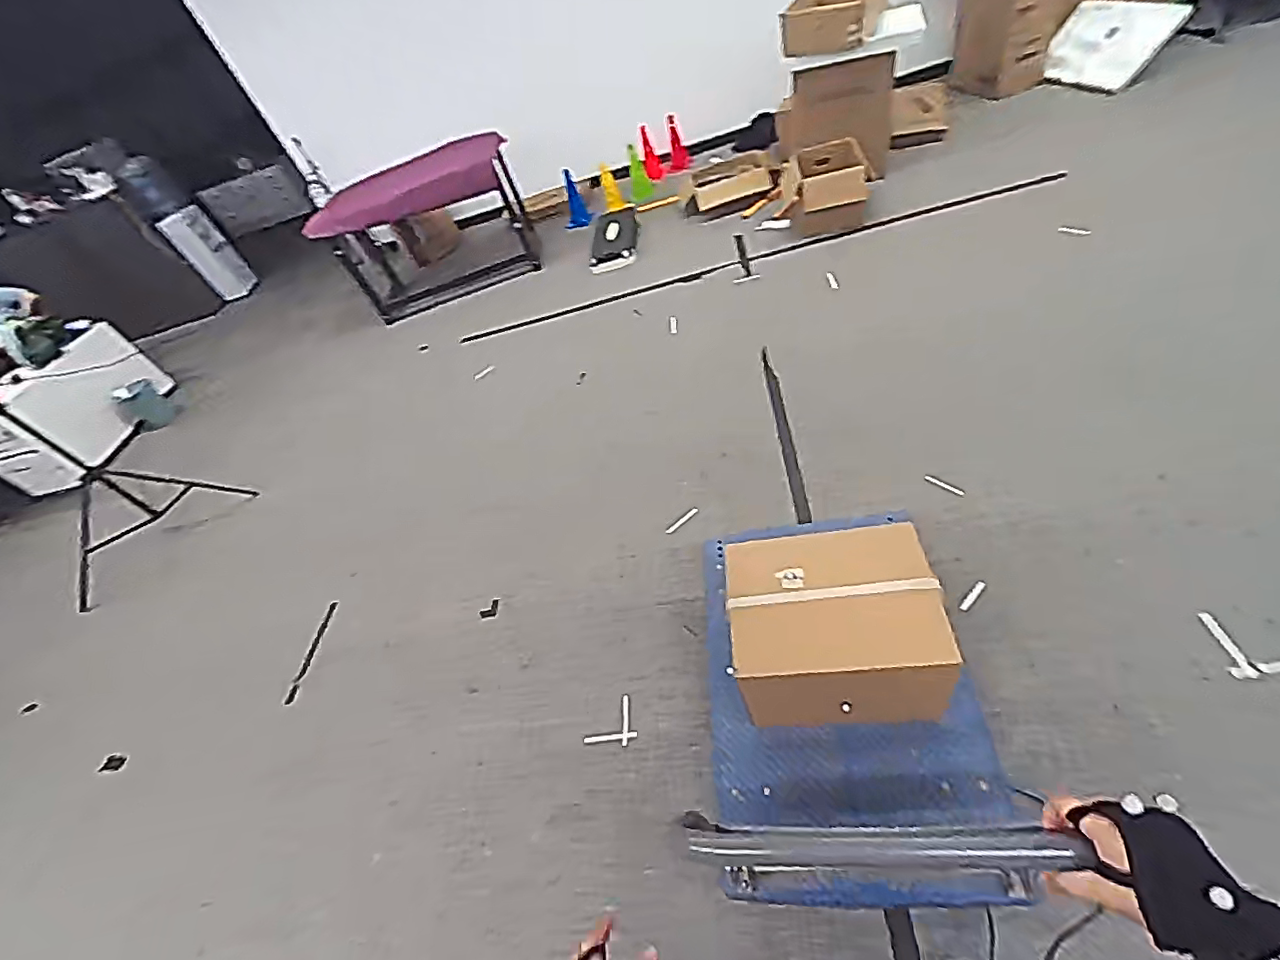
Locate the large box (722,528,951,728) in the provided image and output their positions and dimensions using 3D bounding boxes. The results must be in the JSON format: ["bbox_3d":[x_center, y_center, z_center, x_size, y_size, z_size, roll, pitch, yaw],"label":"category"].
[{"bbox_3d":[0.421,0.347,1.222,0.408,0.320,0.320,-10,46,14],"label":"large box"}]
